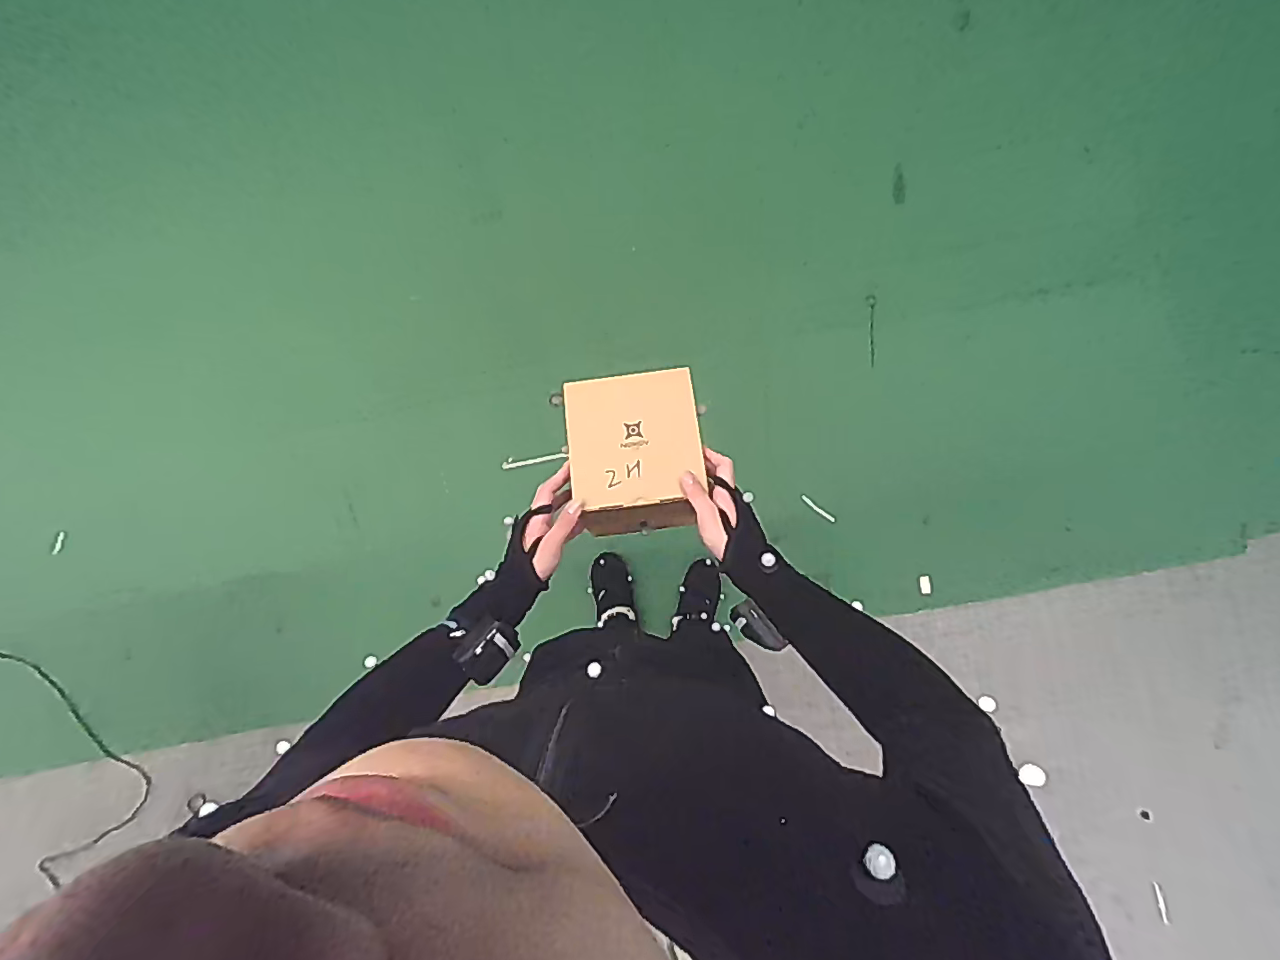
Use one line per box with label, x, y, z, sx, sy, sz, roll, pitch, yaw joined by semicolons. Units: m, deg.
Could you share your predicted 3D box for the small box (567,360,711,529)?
small box;-0.003;-0.040;0.735;0.168;0.176;0.179;-7;75;0
